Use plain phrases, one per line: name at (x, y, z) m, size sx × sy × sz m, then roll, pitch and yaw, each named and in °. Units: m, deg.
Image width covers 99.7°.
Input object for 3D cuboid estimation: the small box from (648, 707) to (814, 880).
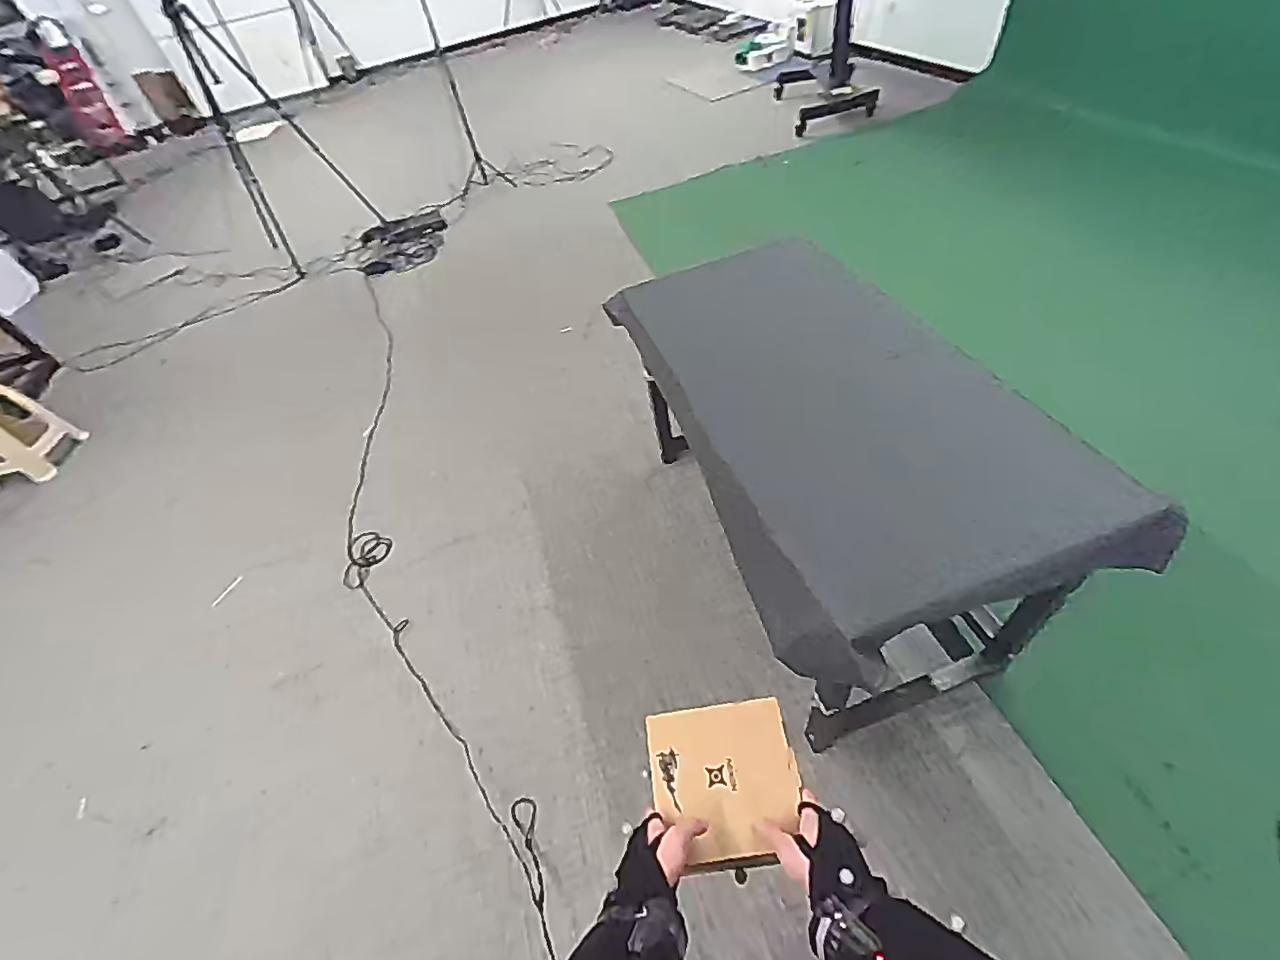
small box at (0.111, 0.415, 0.711) m, size 0.179 × 0.176 × 0.168 m, roll -9°, pitch 50°, yaw 2°
